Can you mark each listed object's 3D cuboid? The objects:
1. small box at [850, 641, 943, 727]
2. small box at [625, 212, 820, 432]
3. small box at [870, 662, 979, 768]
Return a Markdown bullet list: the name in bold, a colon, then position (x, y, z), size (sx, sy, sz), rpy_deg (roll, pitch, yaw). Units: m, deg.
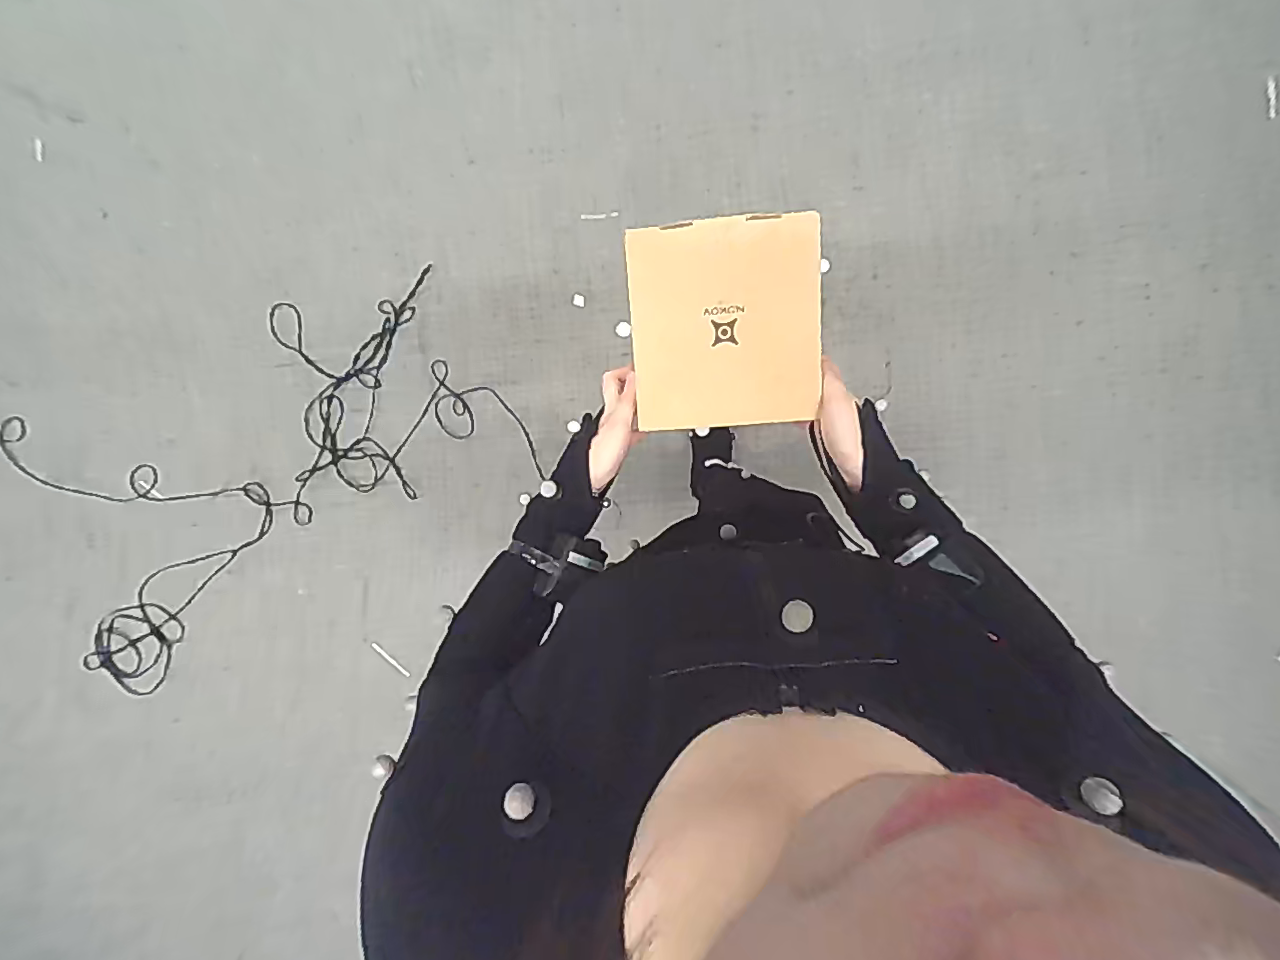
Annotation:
- **small box**: position (0.645, 0.515, 1.376), size (0.179, 0.176, 0.168), rpy_deg (-3, 90, 3)
- **small box**: position (0.080, -0.148, 0.547), size (0.168, 0.176, 0.179), rpy_deg (-4, 100, 5)
- **small box**: position (0.628, 0.518, 1.213), size (0.168, 0.176, 0.179), rpy_deg (-3, 90, 4)
